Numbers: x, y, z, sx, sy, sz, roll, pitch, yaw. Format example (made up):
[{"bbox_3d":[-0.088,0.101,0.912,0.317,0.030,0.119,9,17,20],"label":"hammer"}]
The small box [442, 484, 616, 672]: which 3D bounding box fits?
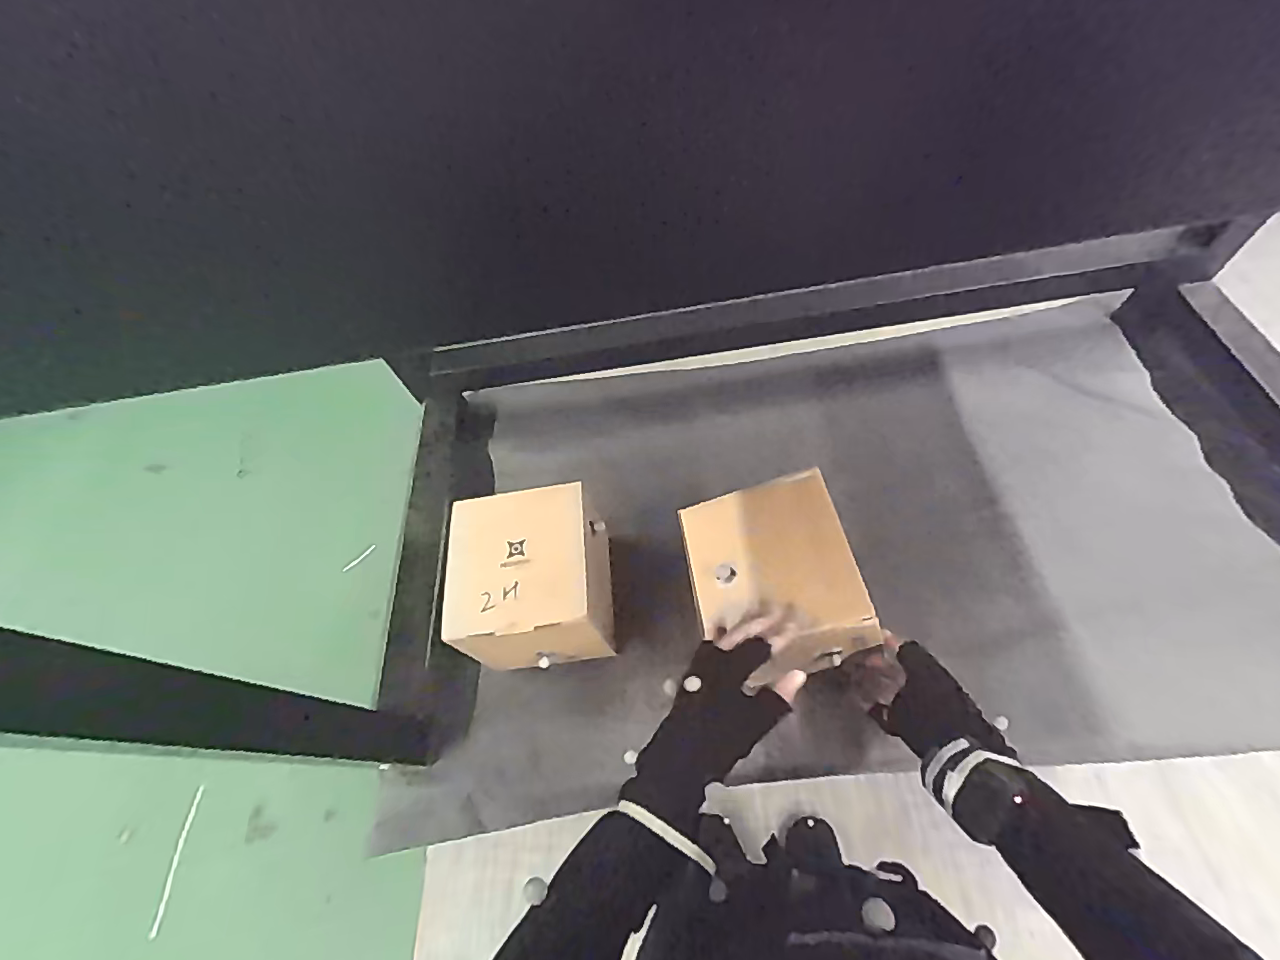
[{"bbox_3d":[-0.129,0.130,0.689,0.168,0.176,0.179,-10,58,5],"label":"small box"}]
